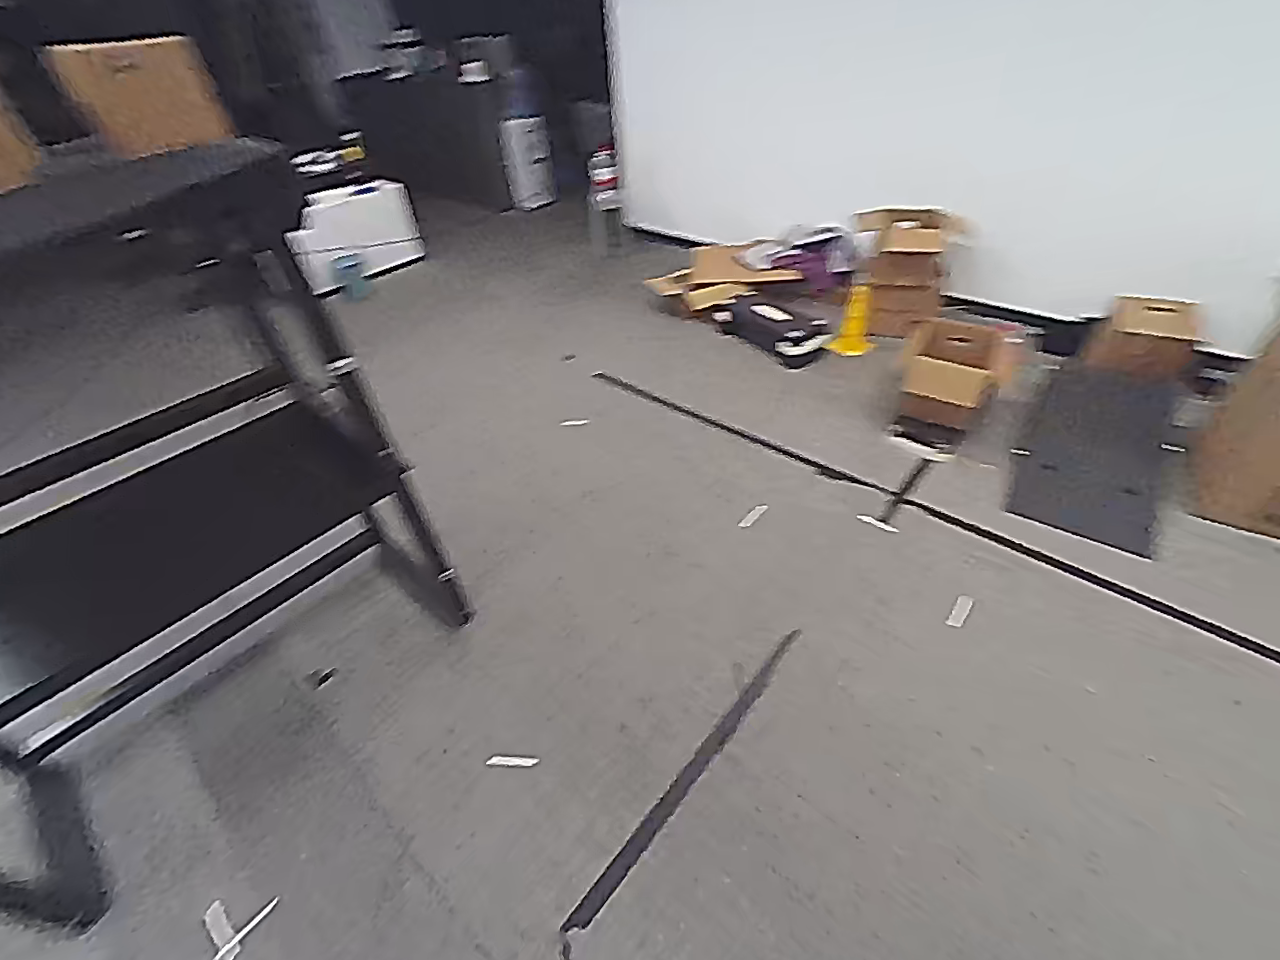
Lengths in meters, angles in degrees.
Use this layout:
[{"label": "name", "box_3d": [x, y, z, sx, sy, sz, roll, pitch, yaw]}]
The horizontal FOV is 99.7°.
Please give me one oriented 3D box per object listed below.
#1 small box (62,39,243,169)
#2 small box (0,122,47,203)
[{"label": "small box", "box_3d": [-0.861, -0.669, 0.965, 0.179, 0.176, 0.168, 29, 53, 33]}, {"label": "small box", "box_3d": [-1.058, -0.509, 0.807, 0.179, 0.176, 0.168, 28, 52, 32]}]
